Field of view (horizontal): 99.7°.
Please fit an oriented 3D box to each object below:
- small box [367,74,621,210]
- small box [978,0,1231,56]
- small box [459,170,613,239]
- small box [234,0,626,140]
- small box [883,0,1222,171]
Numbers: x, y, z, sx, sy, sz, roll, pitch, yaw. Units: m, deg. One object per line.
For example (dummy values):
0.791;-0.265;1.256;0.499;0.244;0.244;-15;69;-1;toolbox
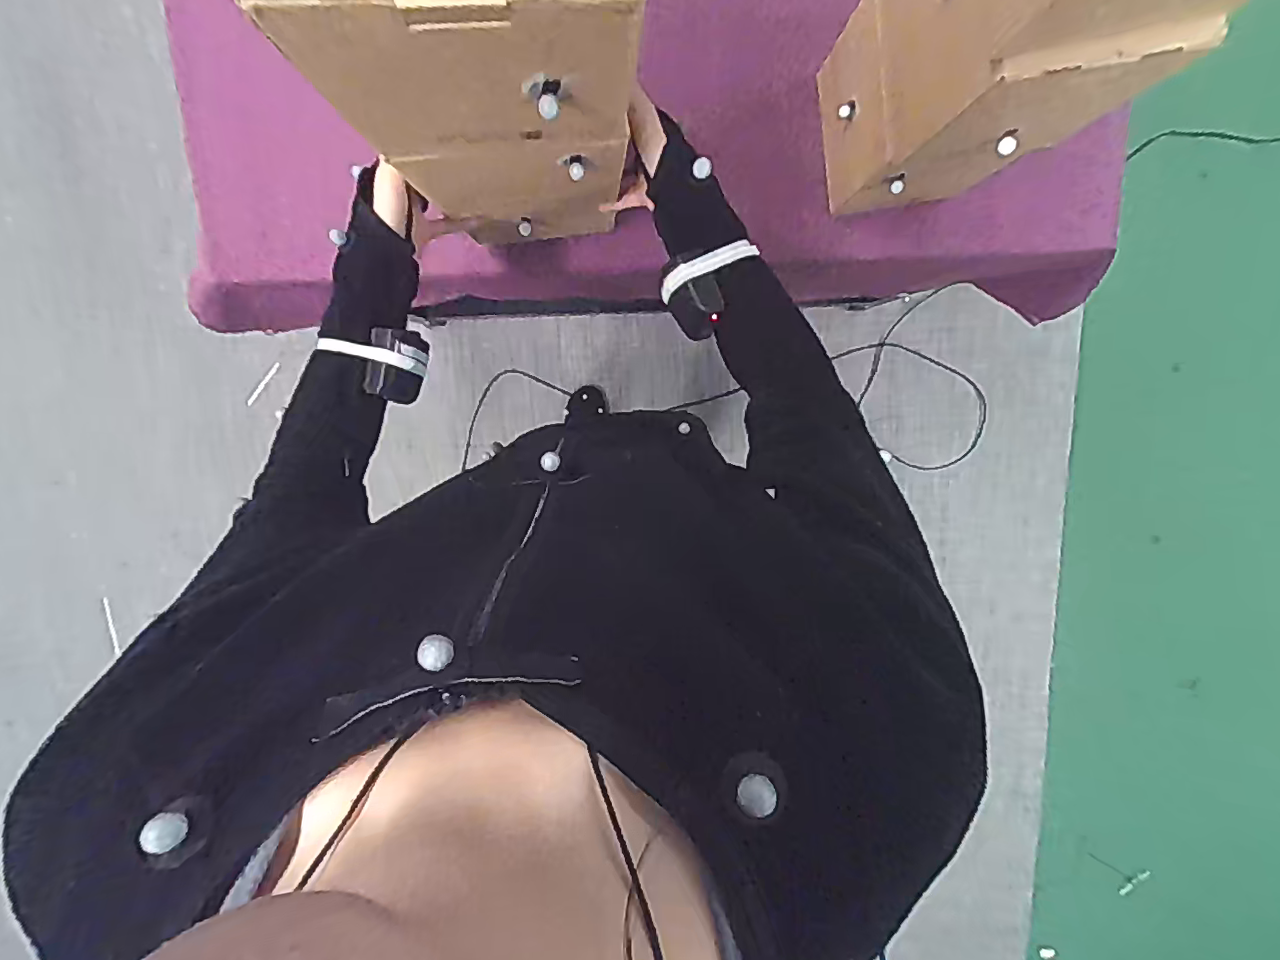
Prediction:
-0.113;-0.331;0.436;0.179;0.176;0.168;-8;104;-4;small box
0.317;-0.378;0.291;0.179;0.176;0.168;-11;99;1;small box
-0.124;-0.374;0.593;0.179;0.176;0.168;-8;104;-2;small box
-0.096;-0.297;0.278;0.168;0.176;0.179;-5;103;-6;small box
0.323;-0.395;0.455;0.168;0.176;0.179;-8;100;1;small box
